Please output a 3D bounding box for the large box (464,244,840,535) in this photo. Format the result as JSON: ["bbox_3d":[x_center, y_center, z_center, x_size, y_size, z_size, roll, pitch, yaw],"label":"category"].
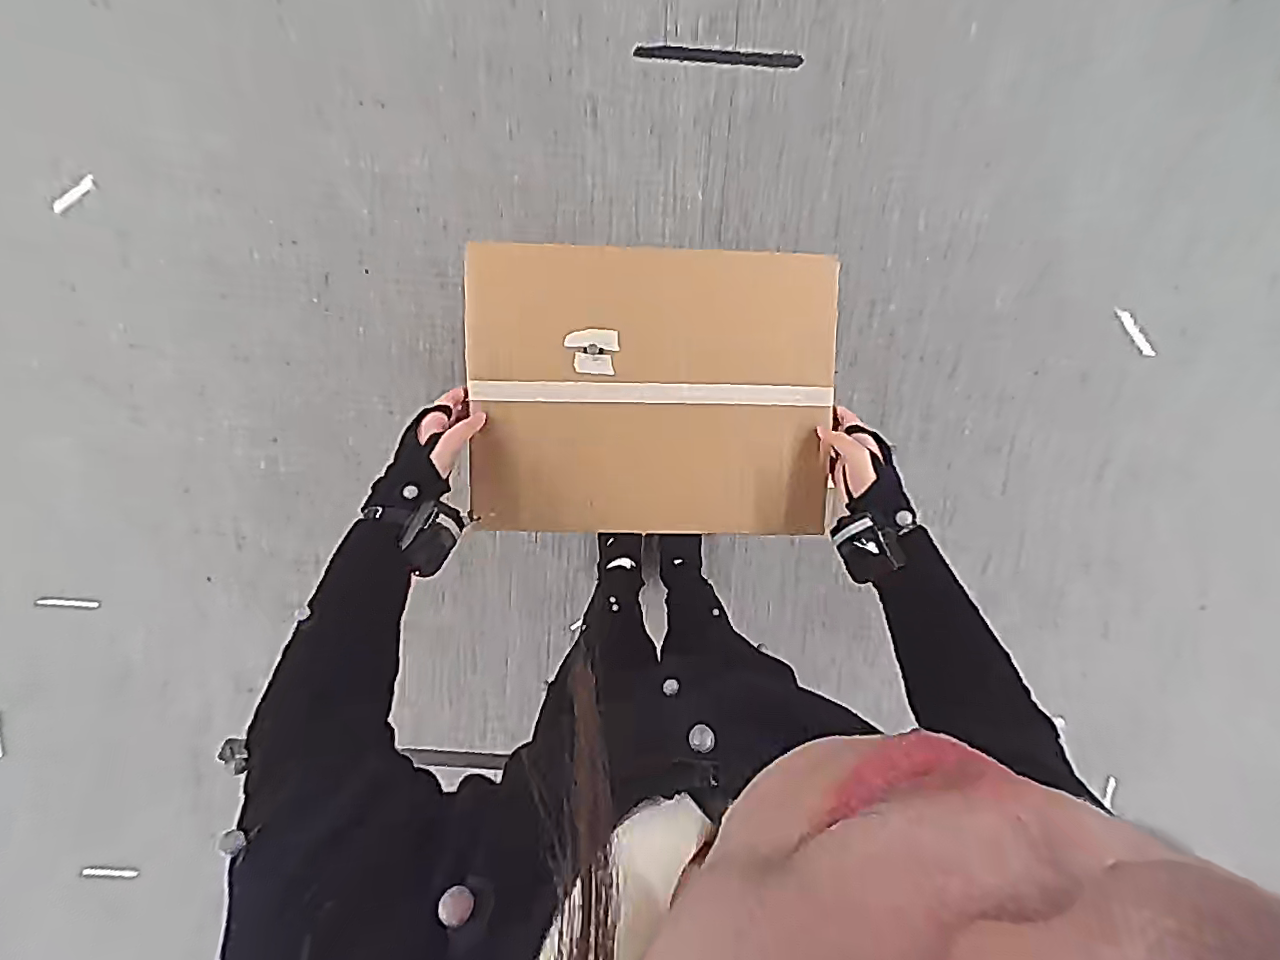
[{"bbox_3d":[0.011,-0.111,0.731,0.408,0.320,0.320,1,96,-1],"label":"large box"}]
